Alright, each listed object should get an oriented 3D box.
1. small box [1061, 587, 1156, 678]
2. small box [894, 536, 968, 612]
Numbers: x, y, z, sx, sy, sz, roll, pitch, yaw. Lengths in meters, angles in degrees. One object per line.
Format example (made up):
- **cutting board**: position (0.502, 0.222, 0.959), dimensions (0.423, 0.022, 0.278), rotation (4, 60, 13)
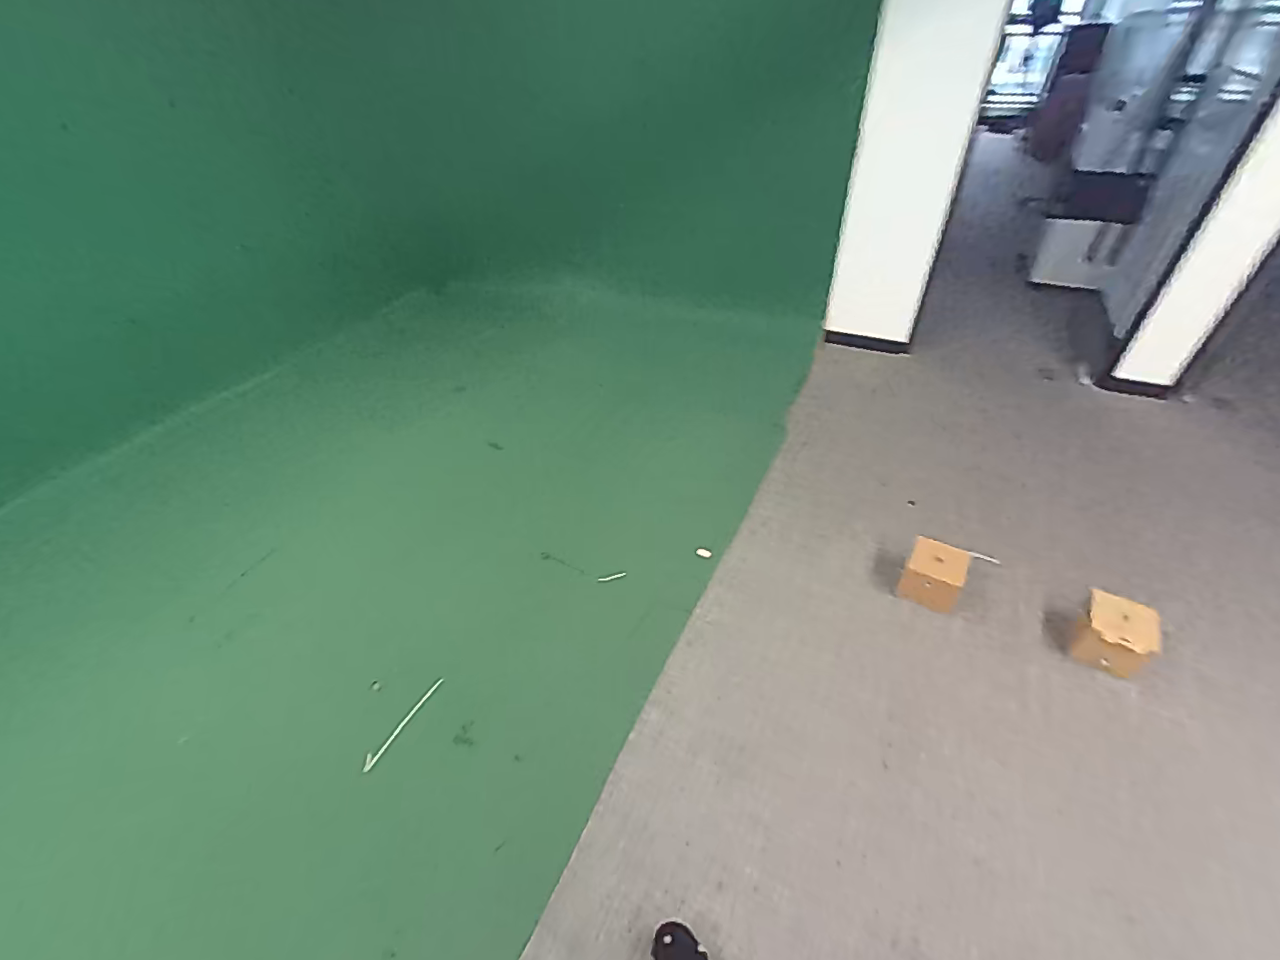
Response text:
- **small box**: position (1.456, 0.477, 1.687), dimensions (0.168, 0.176, 0.179), rotation (25, 51, 31)
- **small box**: position (1.010, 0.330, 1.888), dimensions (0.179, 0.176, 0.168), rotation (22, 49, 25)
